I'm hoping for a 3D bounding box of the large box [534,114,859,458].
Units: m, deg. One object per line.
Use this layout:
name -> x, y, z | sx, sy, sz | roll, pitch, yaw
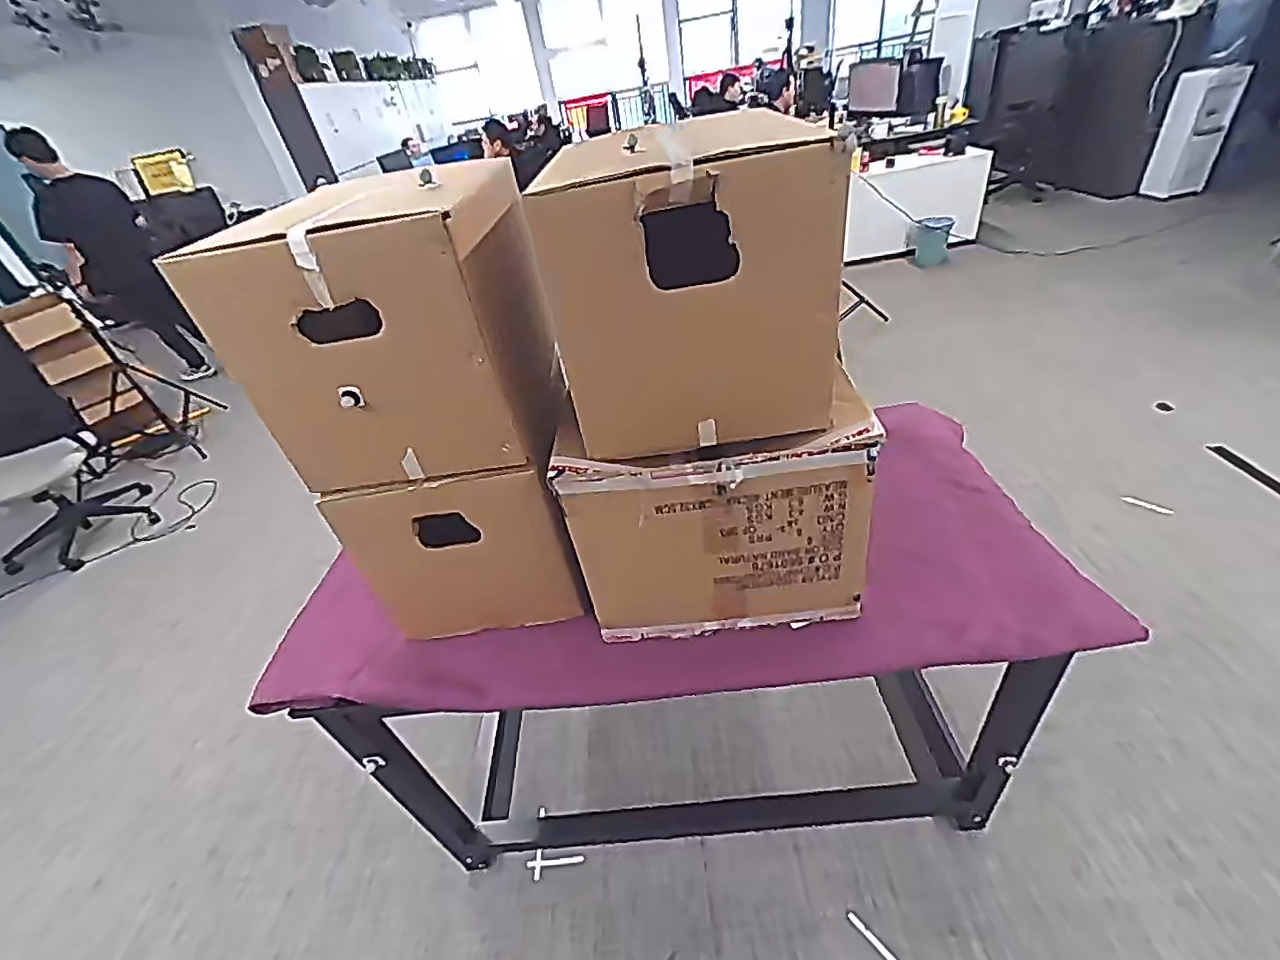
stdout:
large box -> 0.064, -0.283, 0.744 | 0.320, 0.320, 0.408 | -9, 37, 5
